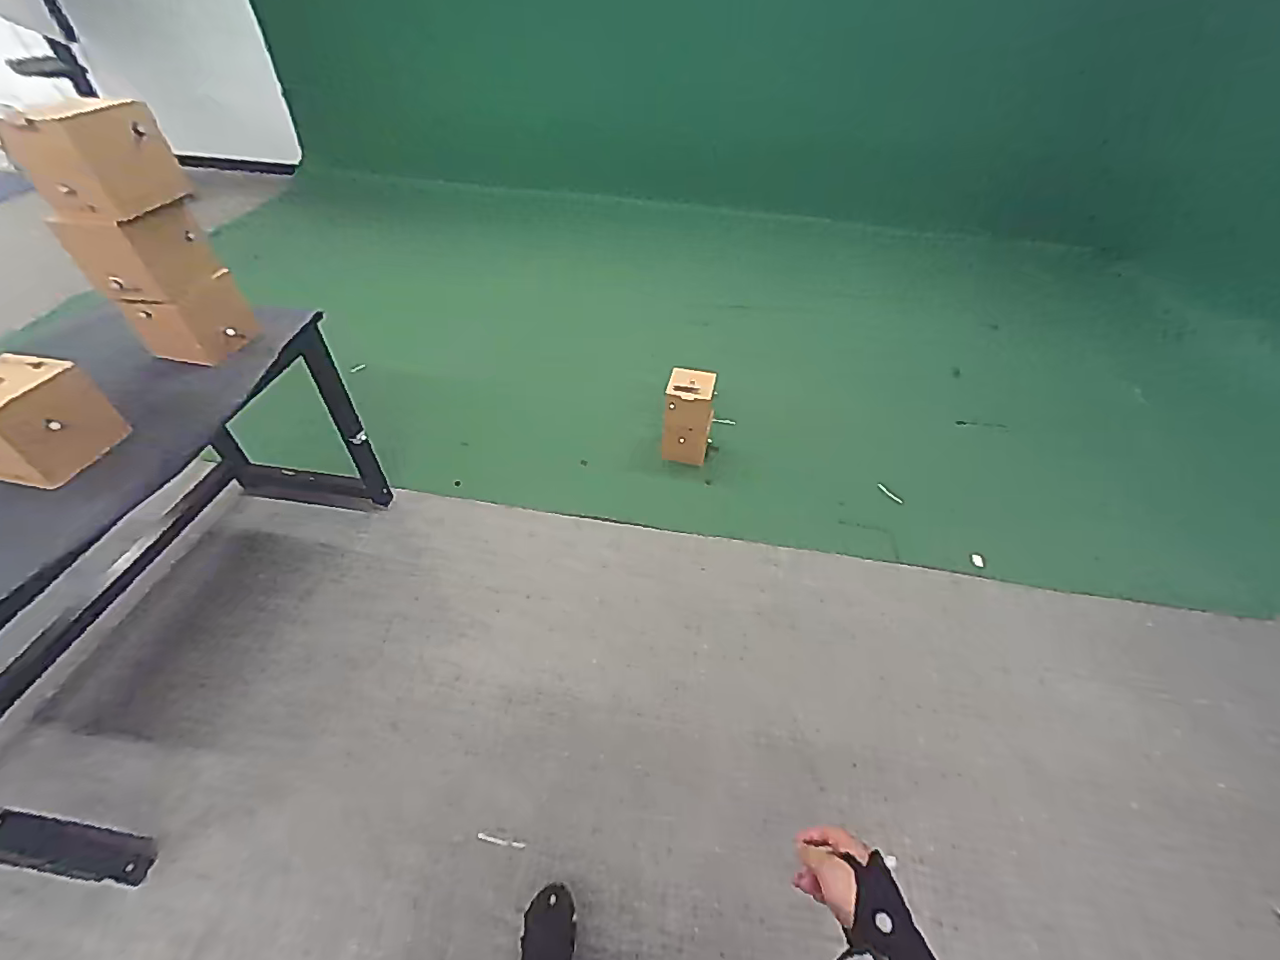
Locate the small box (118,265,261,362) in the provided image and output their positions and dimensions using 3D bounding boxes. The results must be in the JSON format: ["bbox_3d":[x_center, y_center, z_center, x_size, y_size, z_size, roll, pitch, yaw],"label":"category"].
[{"bbox_3d":[-1.060,-0.398,1.278,0.179,0.176,0.168,11,47,10],"label":"small box"}]

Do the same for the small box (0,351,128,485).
[{"bbox_3d":[-1.129,-0.112,1.000,0.168,0.176,0.179,9,47,8],"label":"small box"}]

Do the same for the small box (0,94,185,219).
[{"bbox_3d":[-1.040,-0.626,1.043,0.168,0.176,0.179,8,46,10],"label":"small box"}]

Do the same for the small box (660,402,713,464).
[{"bbox_3d":[0.185,-0.184,2.158,0.179,0.176,0.168,11,47,8],"label":"small box"}]

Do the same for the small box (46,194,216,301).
[{"bbox_3d":[-1.062,-0.503,1.155,0.168,0.176,0.179,4,47,6],"label":"small box"}]
